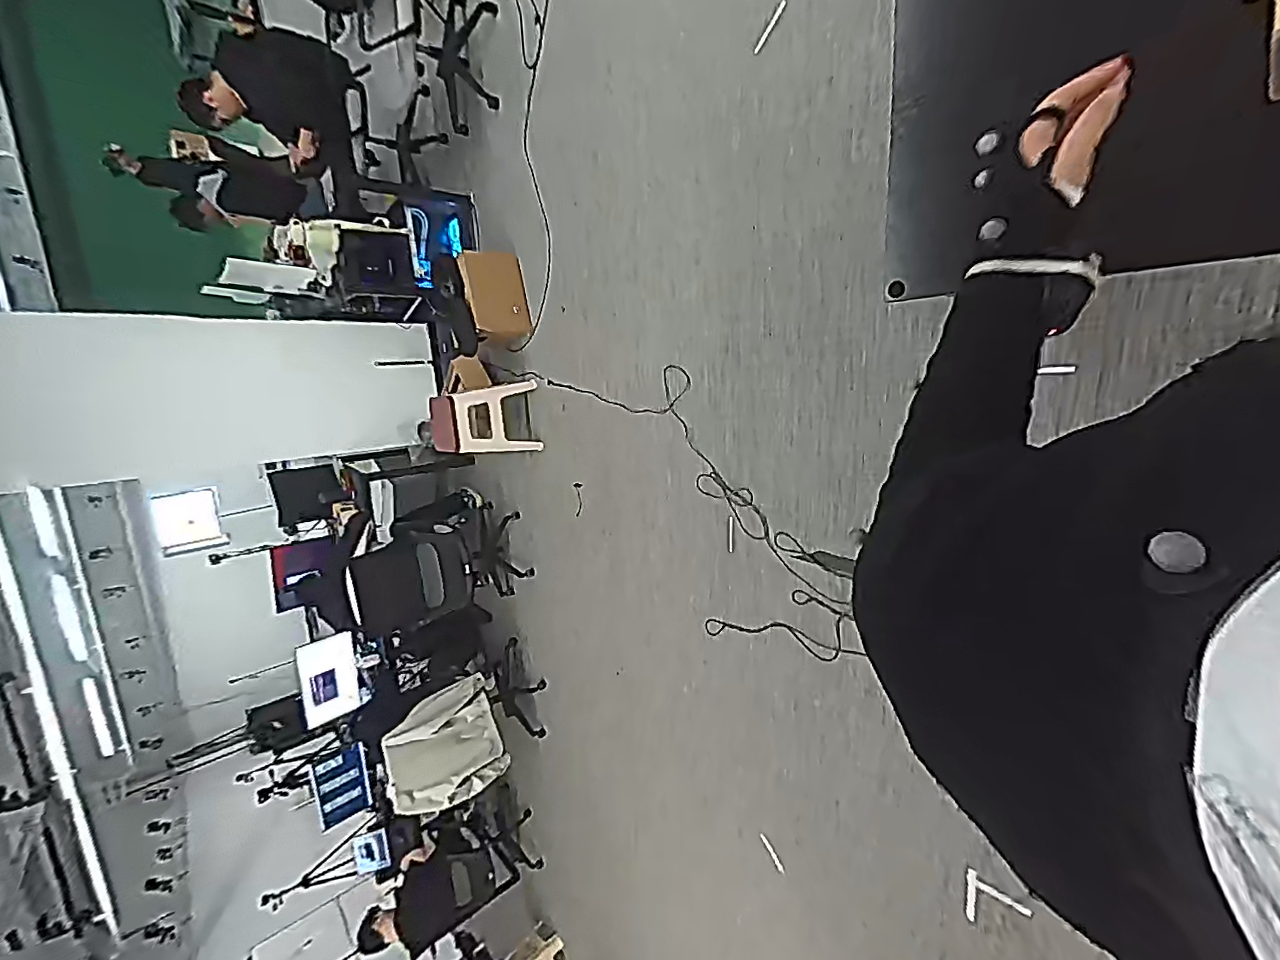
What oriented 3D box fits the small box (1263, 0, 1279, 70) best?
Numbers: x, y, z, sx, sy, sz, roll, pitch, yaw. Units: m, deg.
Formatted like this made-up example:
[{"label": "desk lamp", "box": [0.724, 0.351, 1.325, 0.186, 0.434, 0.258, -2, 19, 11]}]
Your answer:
[{"label": "small box", "box": [0.557, -0.418, 0.366, 0.168, 0.176, 0.179, 4, 103, 50]}]
